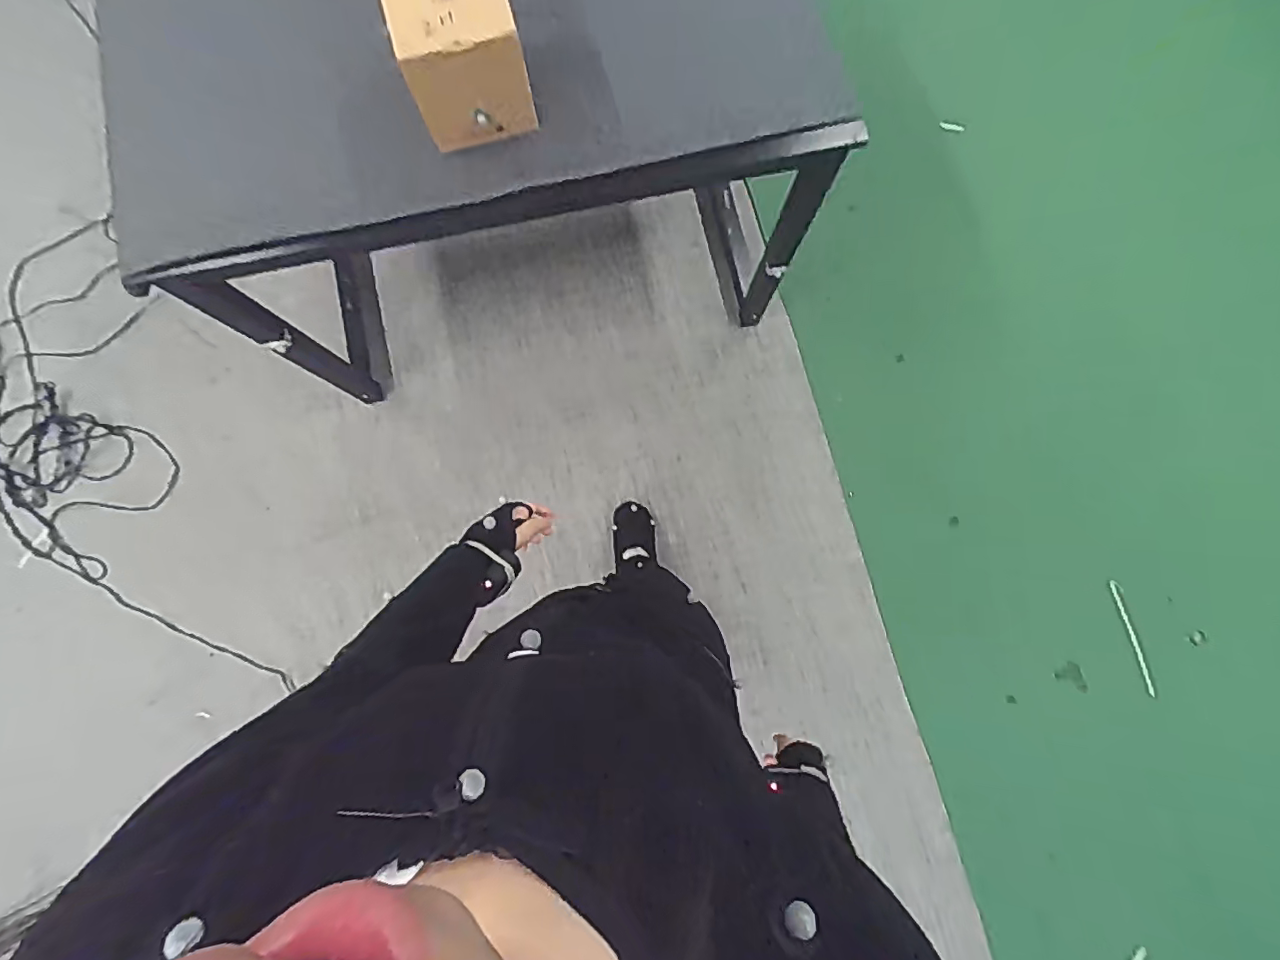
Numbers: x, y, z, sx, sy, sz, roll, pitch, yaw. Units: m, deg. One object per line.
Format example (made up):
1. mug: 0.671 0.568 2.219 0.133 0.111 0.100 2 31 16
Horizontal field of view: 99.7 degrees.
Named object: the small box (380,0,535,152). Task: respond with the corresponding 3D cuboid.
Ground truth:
1. small box: -0.265 -0.635 0.798 0.168 0.176 0.179 -16 81 -3
